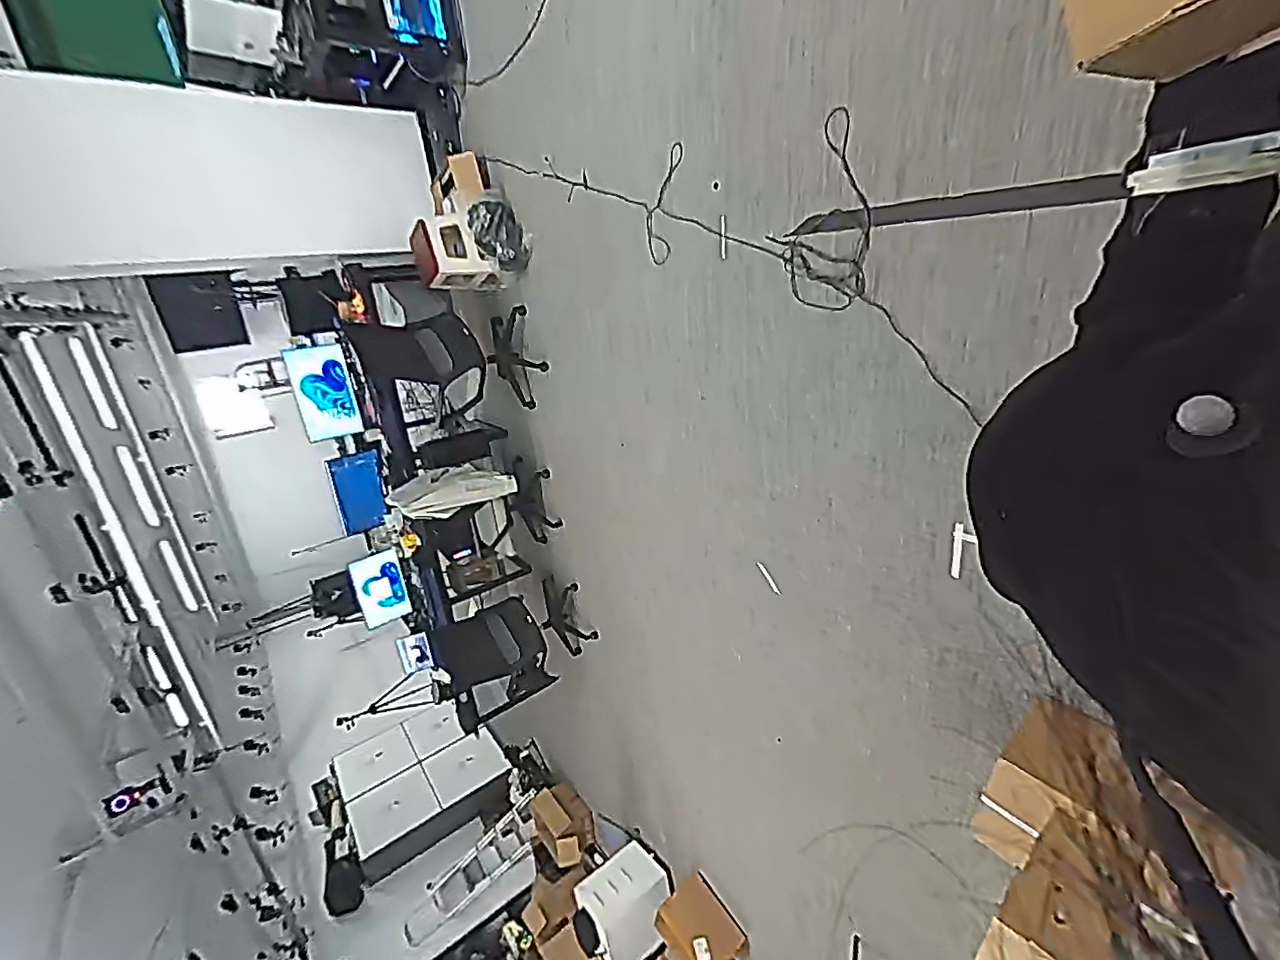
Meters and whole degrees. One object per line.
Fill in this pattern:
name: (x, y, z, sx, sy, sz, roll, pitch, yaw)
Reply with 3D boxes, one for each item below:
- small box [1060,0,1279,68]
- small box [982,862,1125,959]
small box: (0.271, -0.298, 0.203, 0.168, 0.176, 0.179, -7, 105, 55)
small box: (0.824, 0.922, 1.078, 0.168, 0.176, 0.179, 27, 127, 47)
